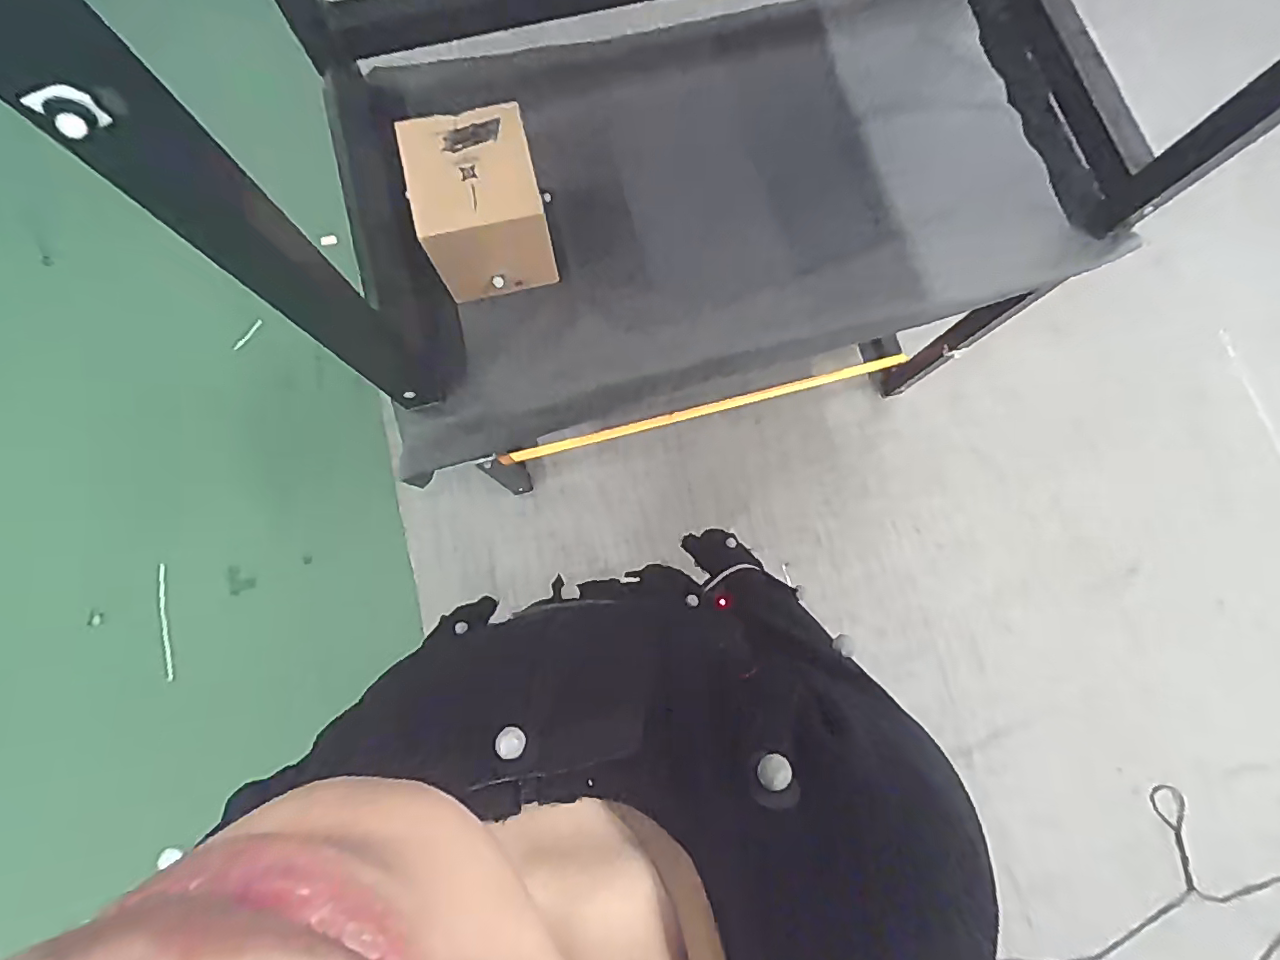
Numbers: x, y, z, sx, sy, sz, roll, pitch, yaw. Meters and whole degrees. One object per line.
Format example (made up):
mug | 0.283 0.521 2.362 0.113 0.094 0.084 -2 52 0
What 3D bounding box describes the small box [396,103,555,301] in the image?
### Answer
small box | -0.228 -0.392 0.784 0.168 0.176 0.179 -14 81 -4
